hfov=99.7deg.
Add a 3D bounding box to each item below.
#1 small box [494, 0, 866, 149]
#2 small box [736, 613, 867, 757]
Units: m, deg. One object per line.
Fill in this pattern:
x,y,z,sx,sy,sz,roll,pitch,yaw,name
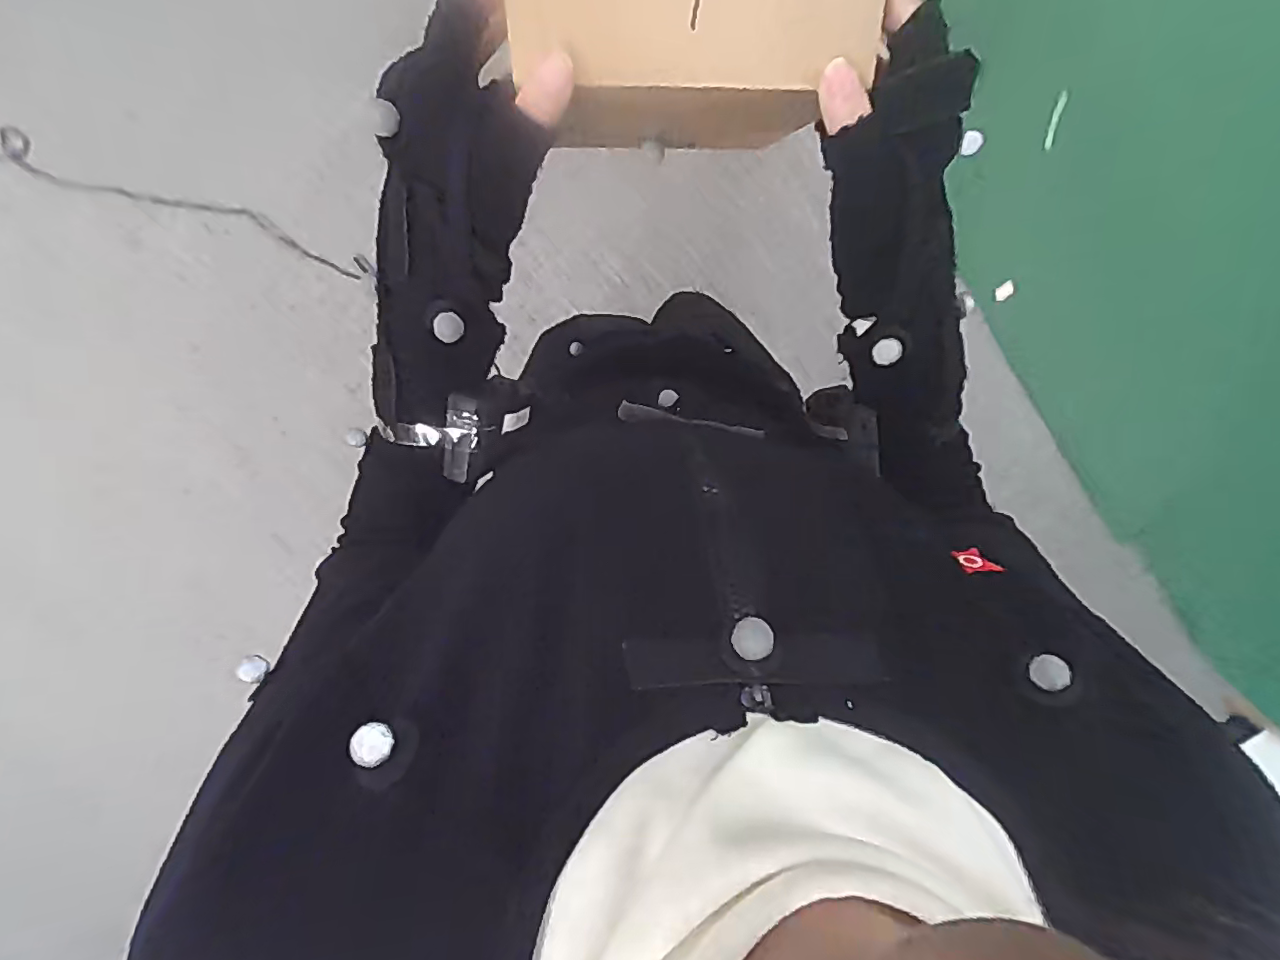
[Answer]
0.010,-0.291,0.284,0.168,0.176,0.179,-3,113,-4,small box
0.319,0.407,1.094,0.168,0.176,0.179,-33,109,6,small box
